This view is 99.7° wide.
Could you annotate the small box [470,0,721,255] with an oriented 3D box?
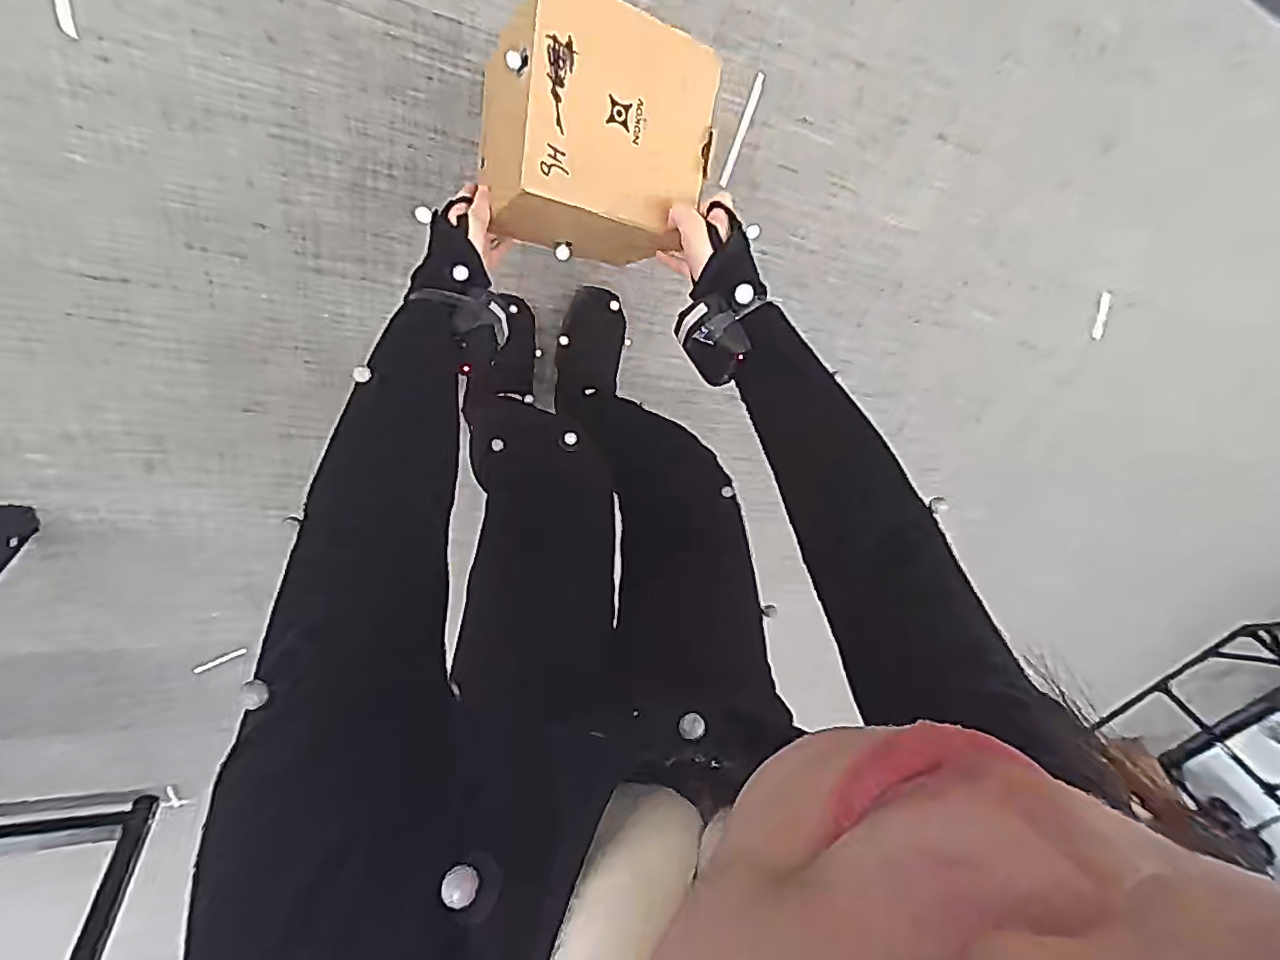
[{"bbox_3d":[-0.051,-0.327,0.525,0.179,0.176,0.168,2,101,-31],"label":"small box"}]
